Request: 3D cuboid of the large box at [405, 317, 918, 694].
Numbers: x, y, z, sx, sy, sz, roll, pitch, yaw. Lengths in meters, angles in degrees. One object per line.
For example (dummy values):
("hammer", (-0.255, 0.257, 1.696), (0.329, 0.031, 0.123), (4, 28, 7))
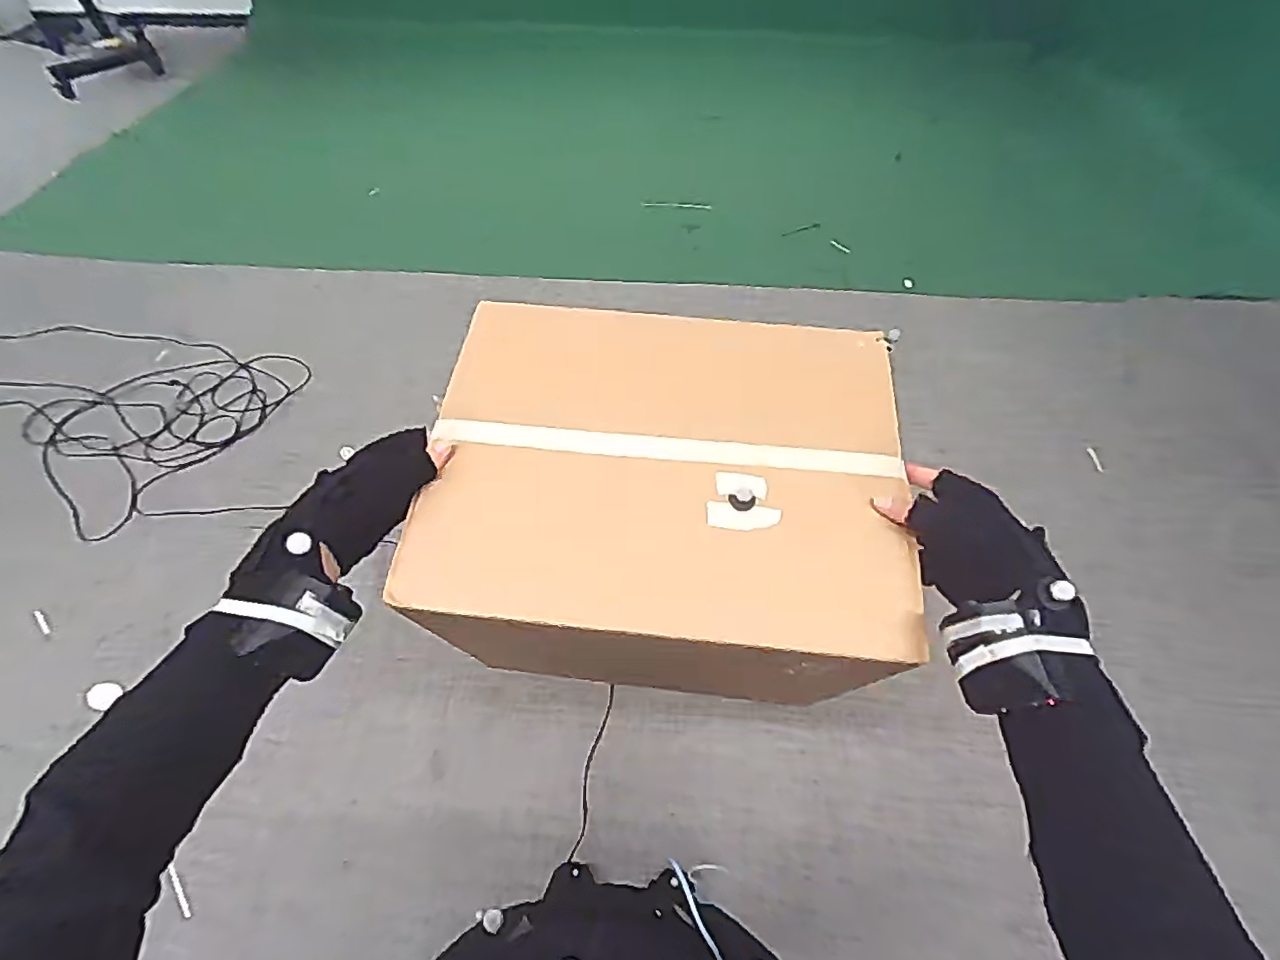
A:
("large box", (0.024, 0.047, 0.612), (0.408, 0.320, 0.320), (5, 63, 3))
